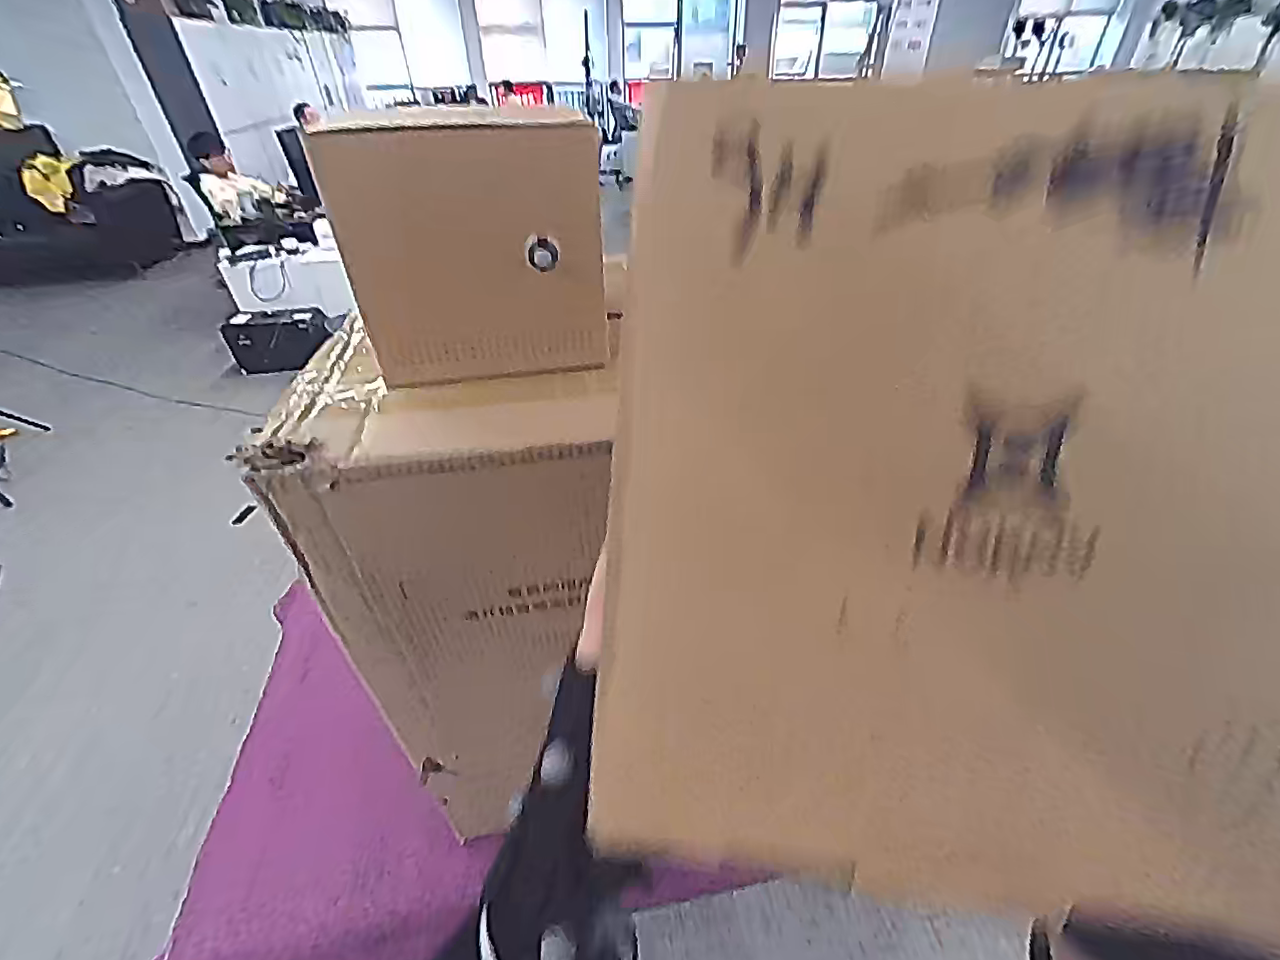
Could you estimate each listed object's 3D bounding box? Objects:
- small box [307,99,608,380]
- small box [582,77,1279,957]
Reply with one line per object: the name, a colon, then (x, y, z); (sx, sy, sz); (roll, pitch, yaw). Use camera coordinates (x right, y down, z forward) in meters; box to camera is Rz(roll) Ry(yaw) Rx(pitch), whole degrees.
small box: (-0.123, -0.196, 0.434); (0.179, 0.176, 0.168); (-9, 38, -9)
small box: (0.082, 0.003, 0.194); (0.168, 0.179, 0.176); (6, 3, 4)
